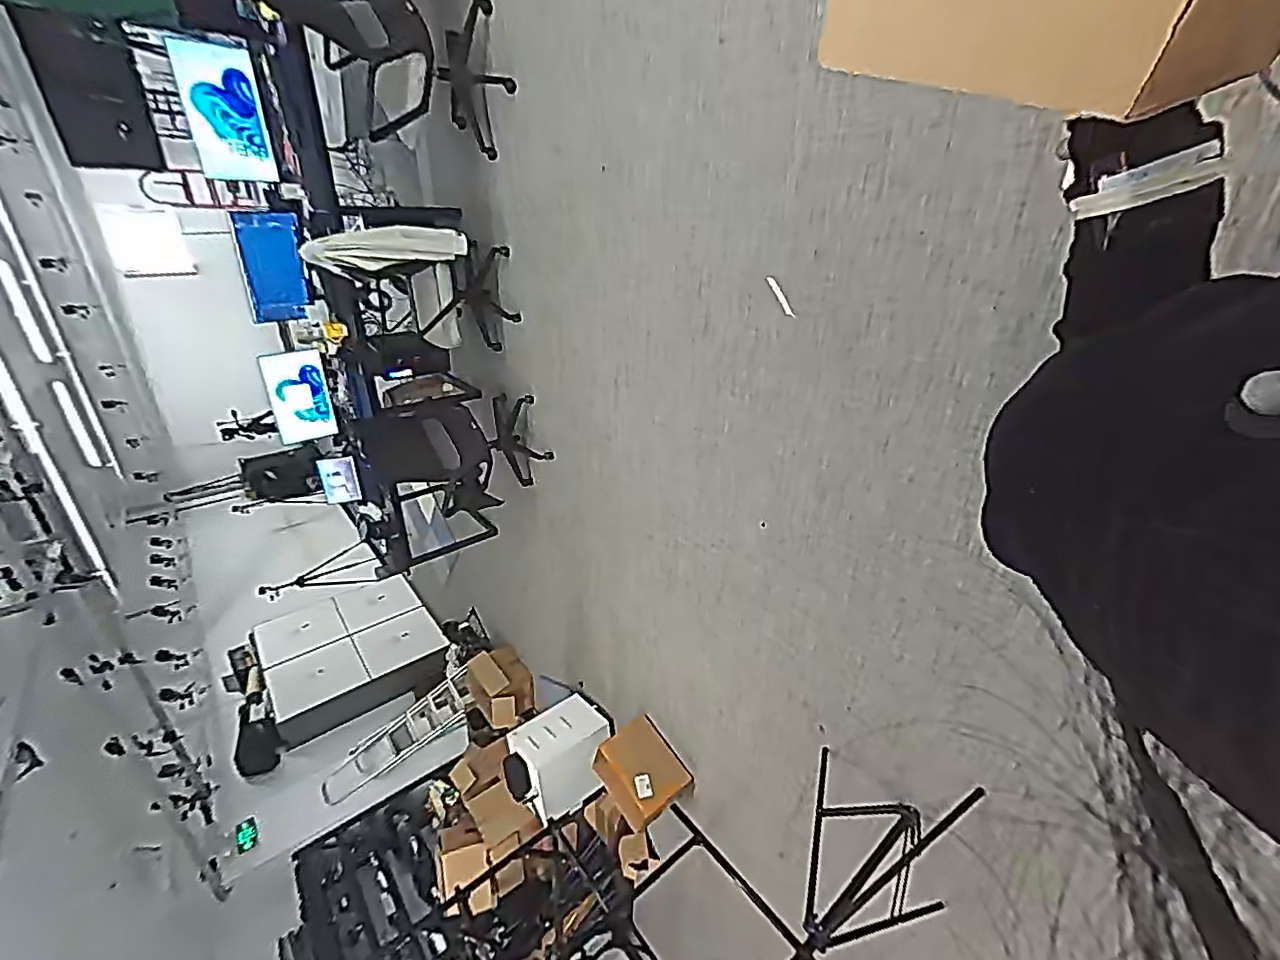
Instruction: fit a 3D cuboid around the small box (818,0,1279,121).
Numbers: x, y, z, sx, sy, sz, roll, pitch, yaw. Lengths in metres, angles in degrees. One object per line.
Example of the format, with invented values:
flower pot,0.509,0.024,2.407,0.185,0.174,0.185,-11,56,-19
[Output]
small box,0.221,-0.293,0.254,0.179,0.176,0.168,44,151,36
